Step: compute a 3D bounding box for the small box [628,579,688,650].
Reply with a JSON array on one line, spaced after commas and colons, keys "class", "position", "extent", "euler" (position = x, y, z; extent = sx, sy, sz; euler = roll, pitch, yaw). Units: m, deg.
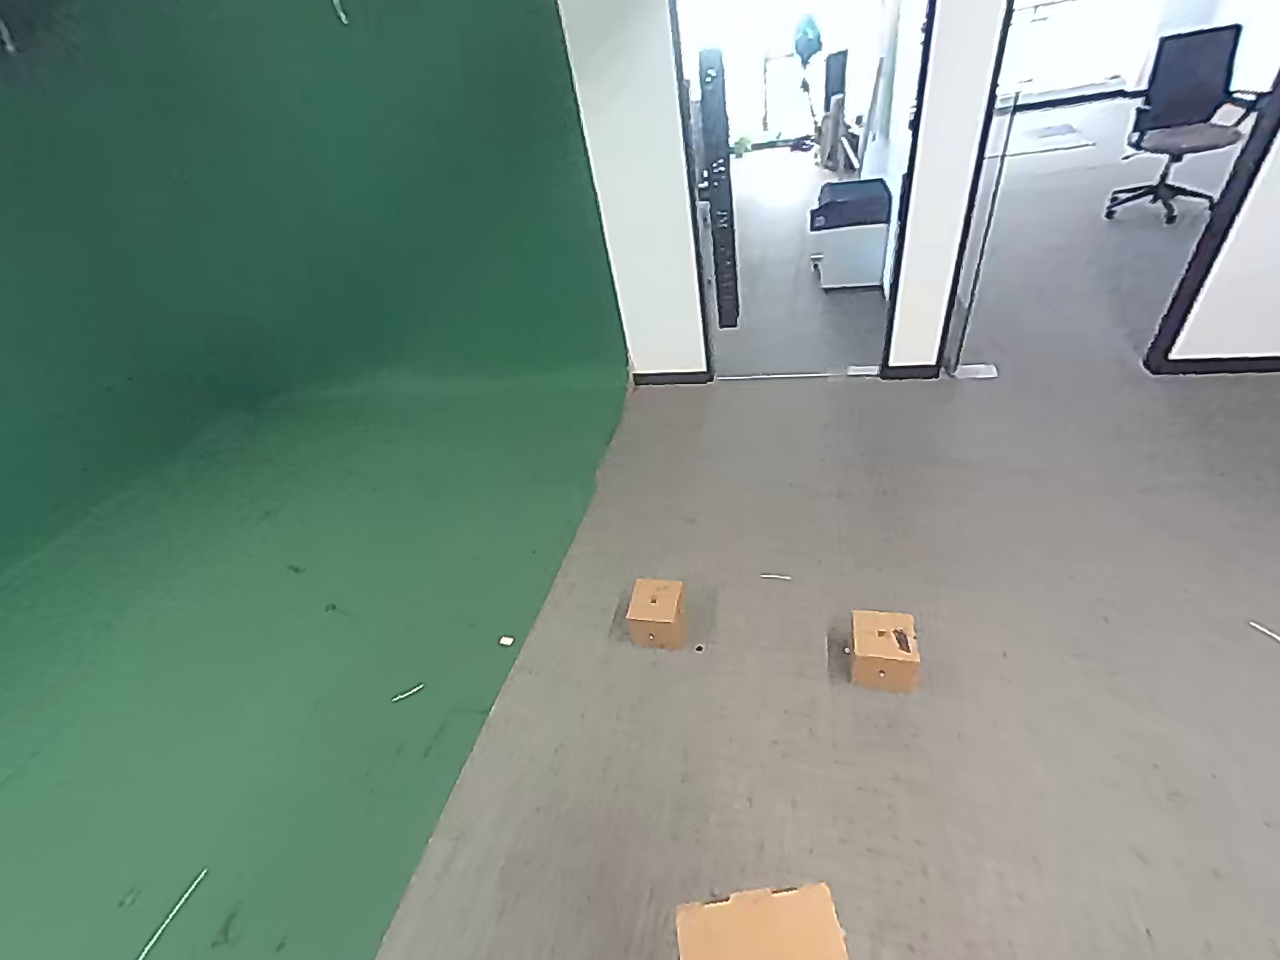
[{"class": "small box", "position": [0.070, 0.471, 1.893], "extent": [0.168, 0.176, 0.179], "euler": [2, 41, 16]}]

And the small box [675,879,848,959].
[{"class": "small box", "position": [0.132, 0.541, 0.566], "extent": [0.168, 0.176, 0.179], "euler": [-10, 50, 3]}]

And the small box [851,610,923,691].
[{"class": "small box", "position": [0.745, 0.520, 1.646], "extent": [0.179, 0.176, 0.168], "euler": [1, 40, 18]}]
